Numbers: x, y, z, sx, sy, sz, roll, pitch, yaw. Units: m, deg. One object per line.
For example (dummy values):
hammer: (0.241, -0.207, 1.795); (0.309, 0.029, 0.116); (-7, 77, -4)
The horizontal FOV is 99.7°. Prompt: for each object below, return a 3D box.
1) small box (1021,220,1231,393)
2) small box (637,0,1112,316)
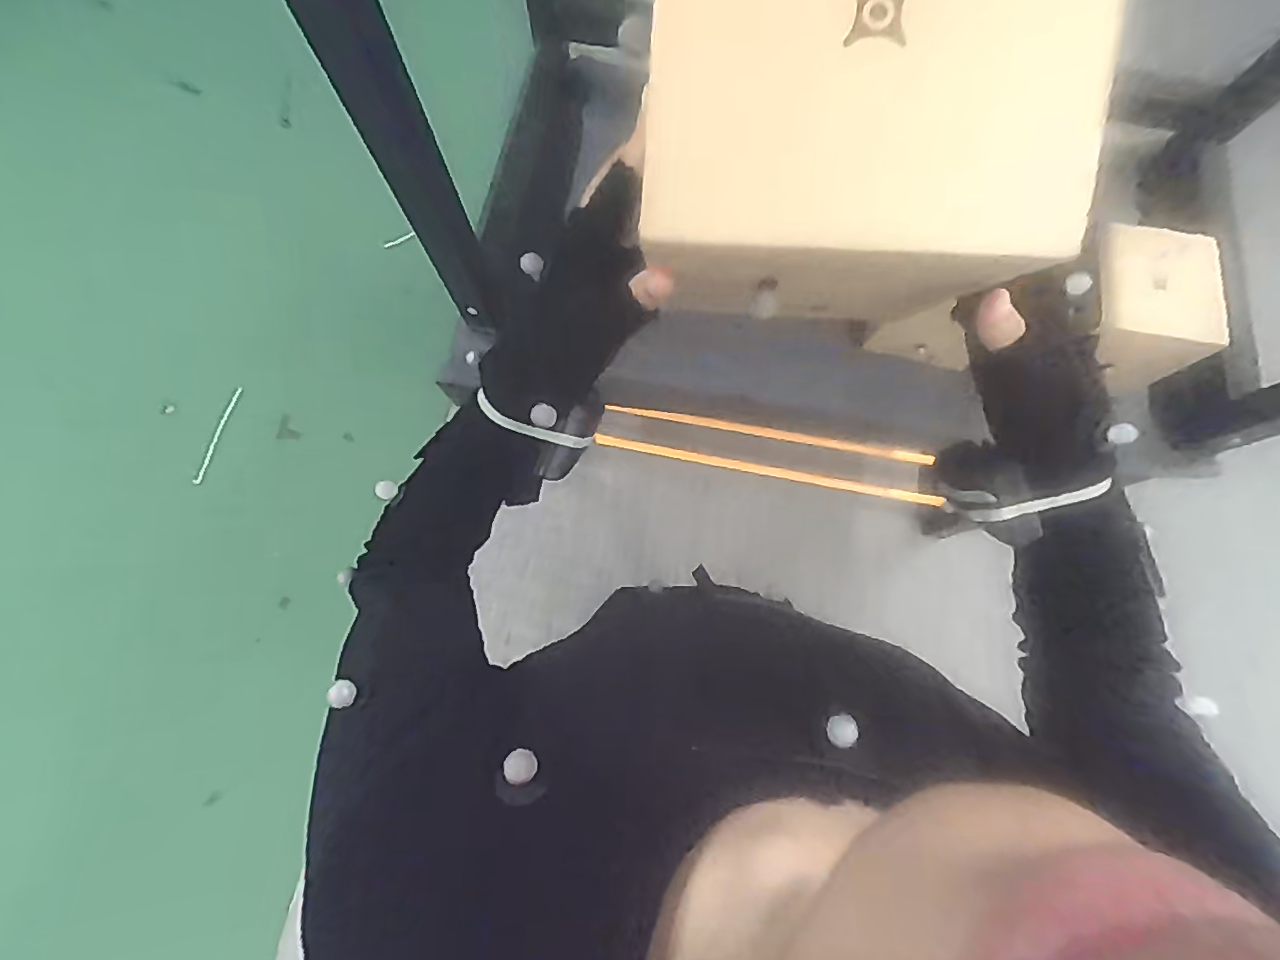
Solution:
small box: (0.707, -0.249, 0.809); (0.168, 0.176, 0.179); (10, 74, 3)
small box: (0.093, -0.187, 0.277); (0.168, 0.176, 0.179); (4, 98, 4)
